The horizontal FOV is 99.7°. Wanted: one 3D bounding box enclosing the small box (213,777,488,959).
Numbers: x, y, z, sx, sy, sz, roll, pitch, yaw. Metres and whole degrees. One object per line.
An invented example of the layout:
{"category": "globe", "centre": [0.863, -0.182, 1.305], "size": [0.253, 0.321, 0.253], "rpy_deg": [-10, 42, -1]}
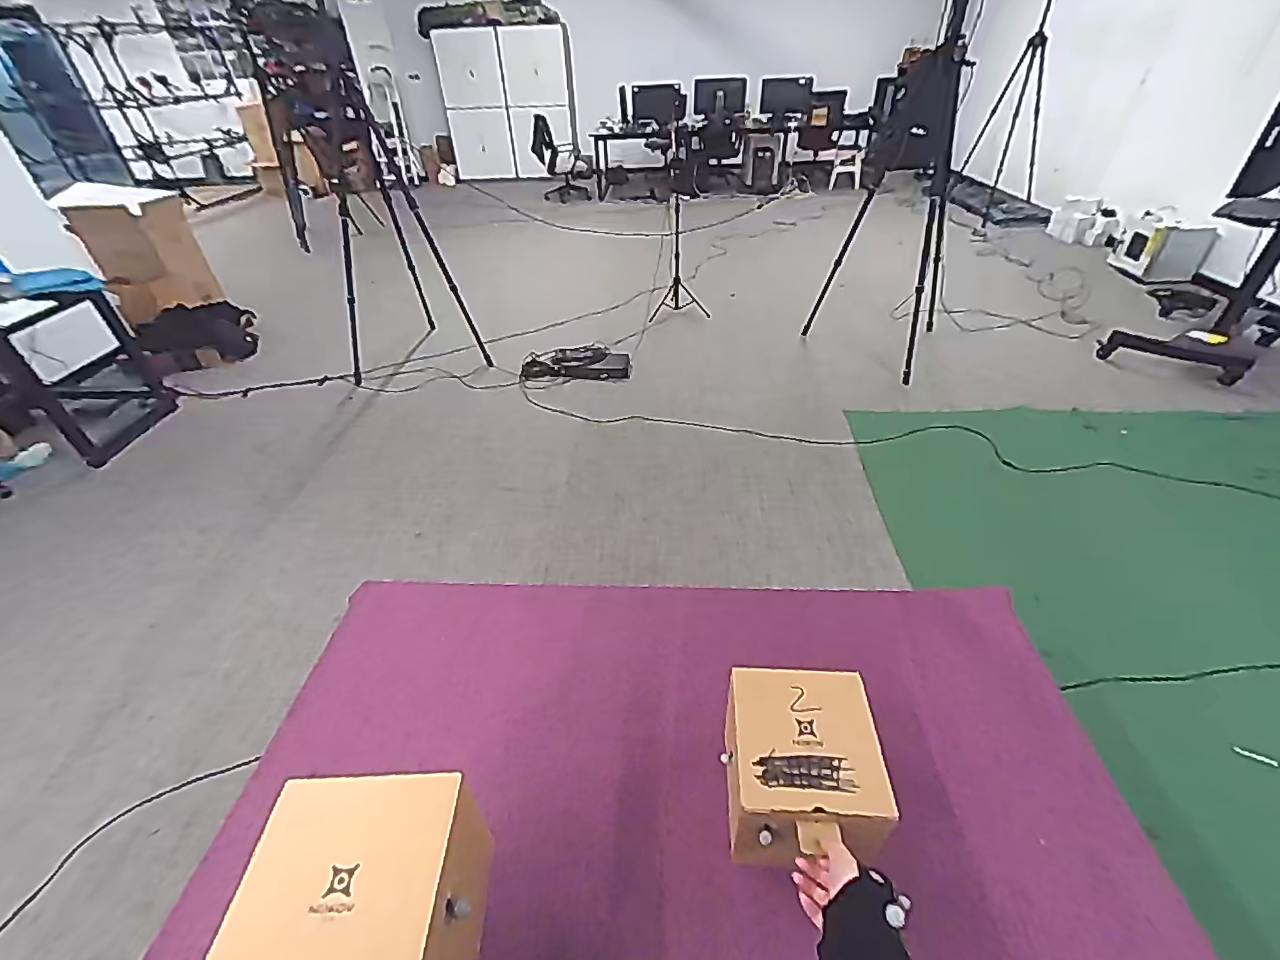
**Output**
{"category": "small box", "centre": [-0.247, 0.403, 0.501], "size": [0.168, 0.176, 0.179], "rpy_deg": [-2, 39, -1]}
